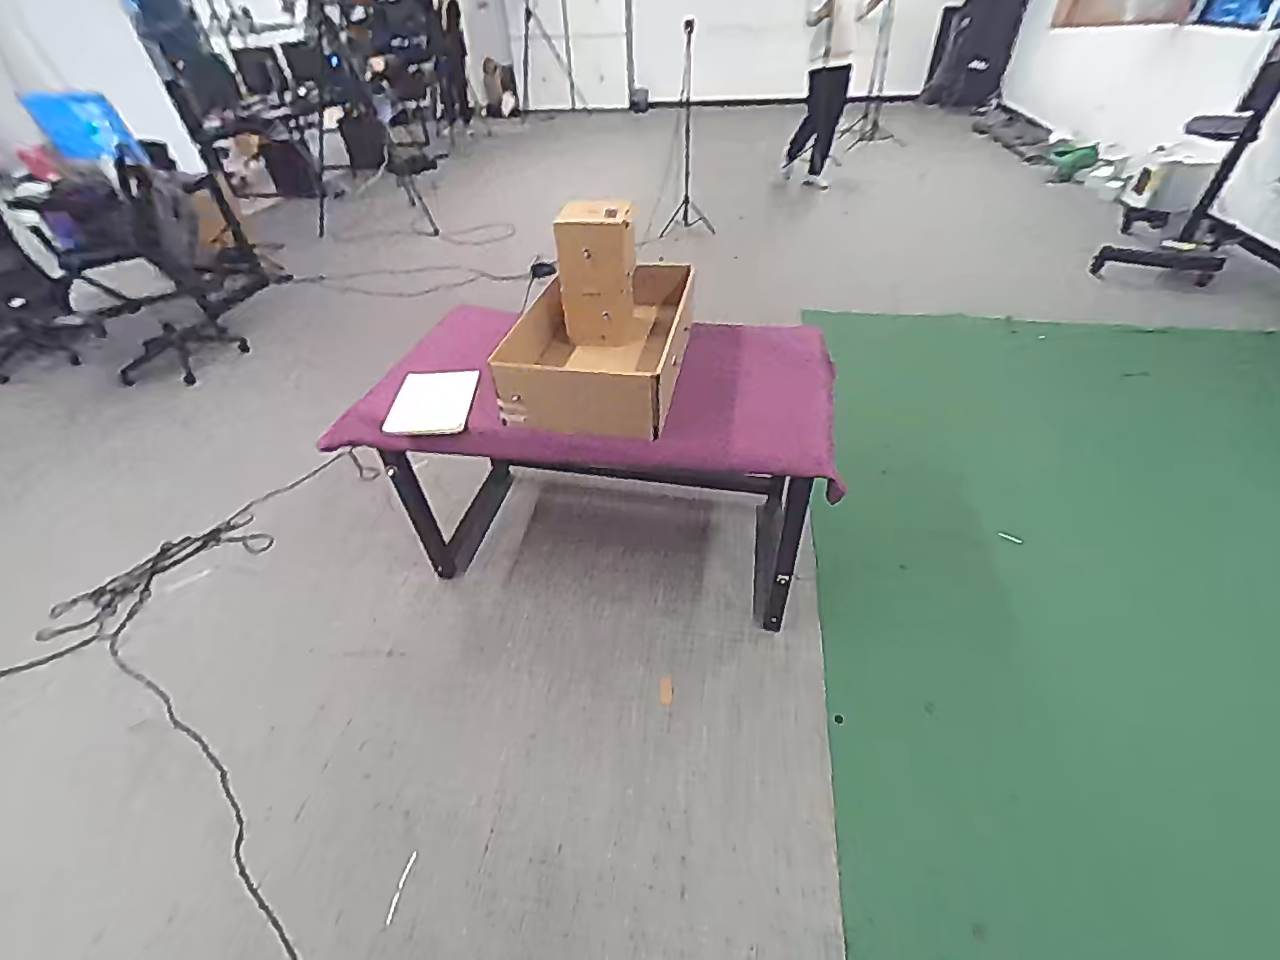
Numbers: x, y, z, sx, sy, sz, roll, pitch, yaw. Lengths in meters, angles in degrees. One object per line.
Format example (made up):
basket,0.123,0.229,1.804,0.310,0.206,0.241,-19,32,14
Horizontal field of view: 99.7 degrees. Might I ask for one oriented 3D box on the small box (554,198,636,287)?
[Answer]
small box,-0.107,-0.616,1.407,0.179,0.176,0.168,4,44,8
